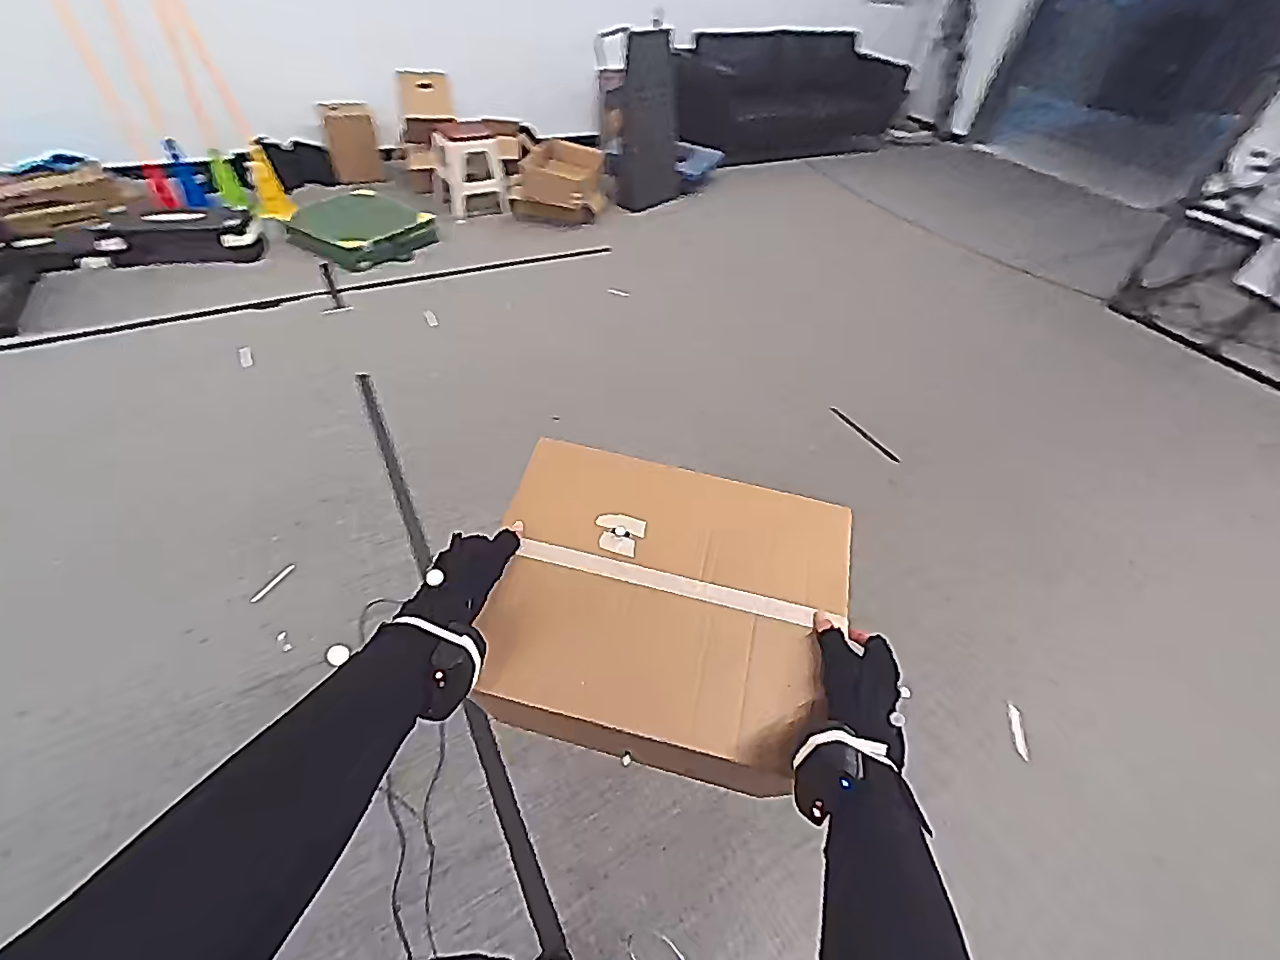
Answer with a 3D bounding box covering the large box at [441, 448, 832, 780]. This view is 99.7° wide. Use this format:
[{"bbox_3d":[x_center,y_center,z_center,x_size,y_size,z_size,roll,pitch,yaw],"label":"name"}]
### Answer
[{"bbox_3d":[0.014,0.197,0.745,0.408,0.320,0.320,12,58,5],"label":"large box"}]
